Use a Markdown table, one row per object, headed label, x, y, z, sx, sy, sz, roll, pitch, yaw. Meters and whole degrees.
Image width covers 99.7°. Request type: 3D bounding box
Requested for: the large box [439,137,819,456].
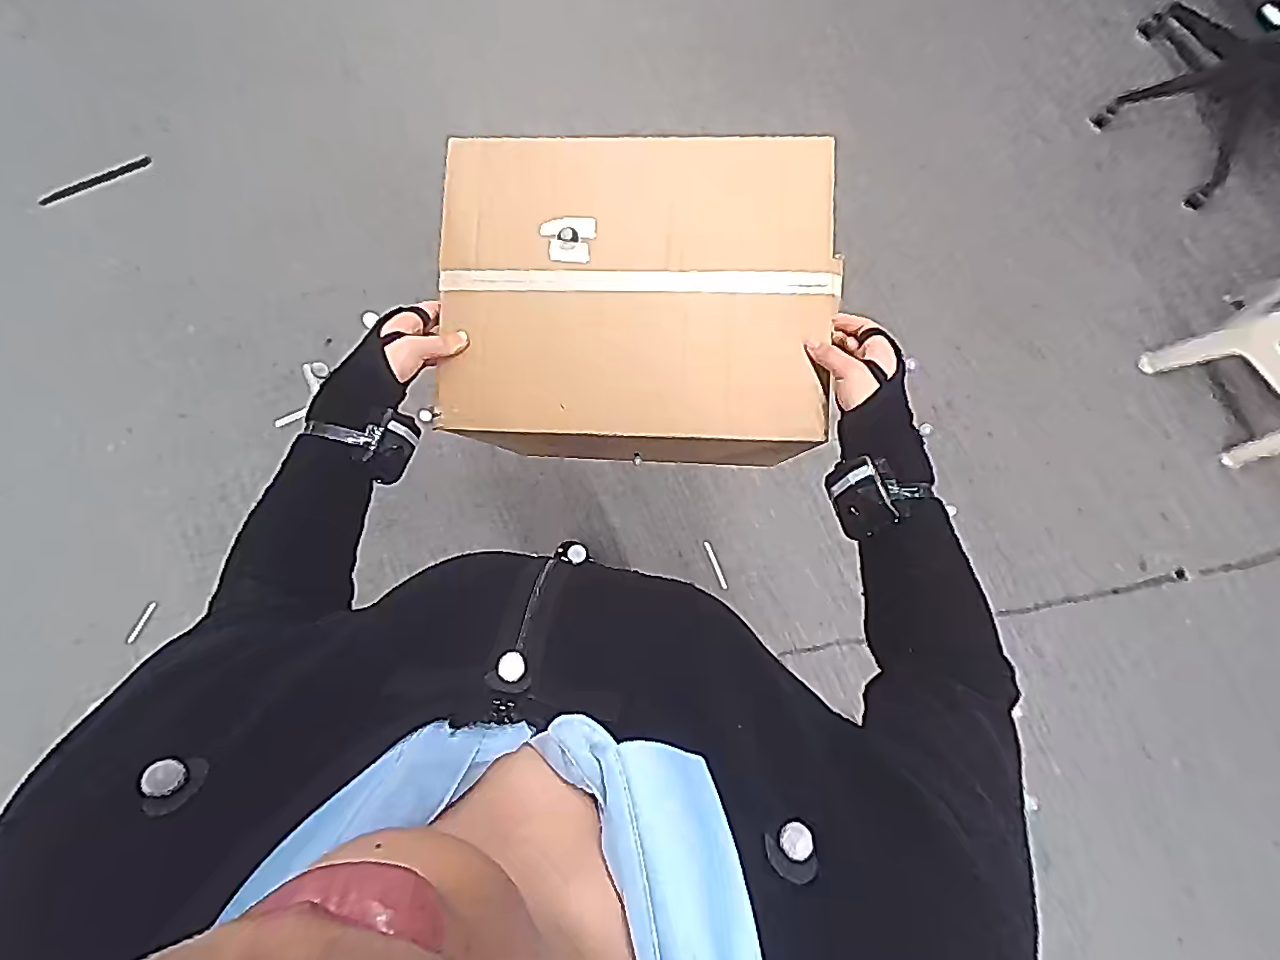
| label | x | y | z | sx | sy | sz | roll | pitch | yaw |
| --- | --- | --- | --- | --- | --- | --- | --- | --- | --- |
| large box | -0.001 | -0.196 | 0.715 | 0.408 | 0.320 | 0.320 | 1 | 86 | 5 |
